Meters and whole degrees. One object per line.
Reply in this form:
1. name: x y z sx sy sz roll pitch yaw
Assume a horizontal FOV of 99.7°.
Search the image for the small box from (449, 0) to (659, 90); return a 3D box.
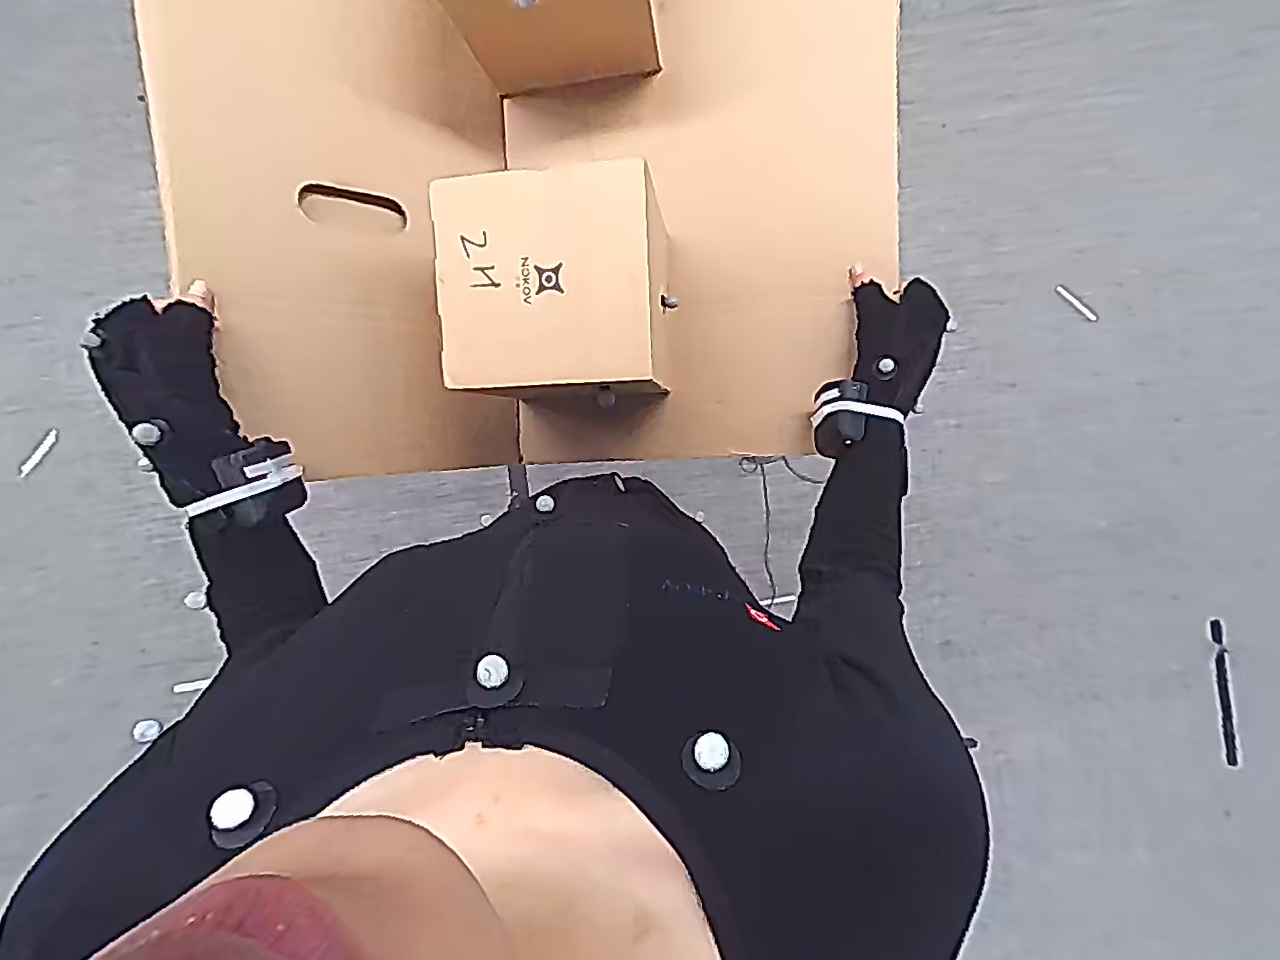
1. small box: -0.082 -0.488 0.482 0.179 0.176 0.168 -3 95 8
